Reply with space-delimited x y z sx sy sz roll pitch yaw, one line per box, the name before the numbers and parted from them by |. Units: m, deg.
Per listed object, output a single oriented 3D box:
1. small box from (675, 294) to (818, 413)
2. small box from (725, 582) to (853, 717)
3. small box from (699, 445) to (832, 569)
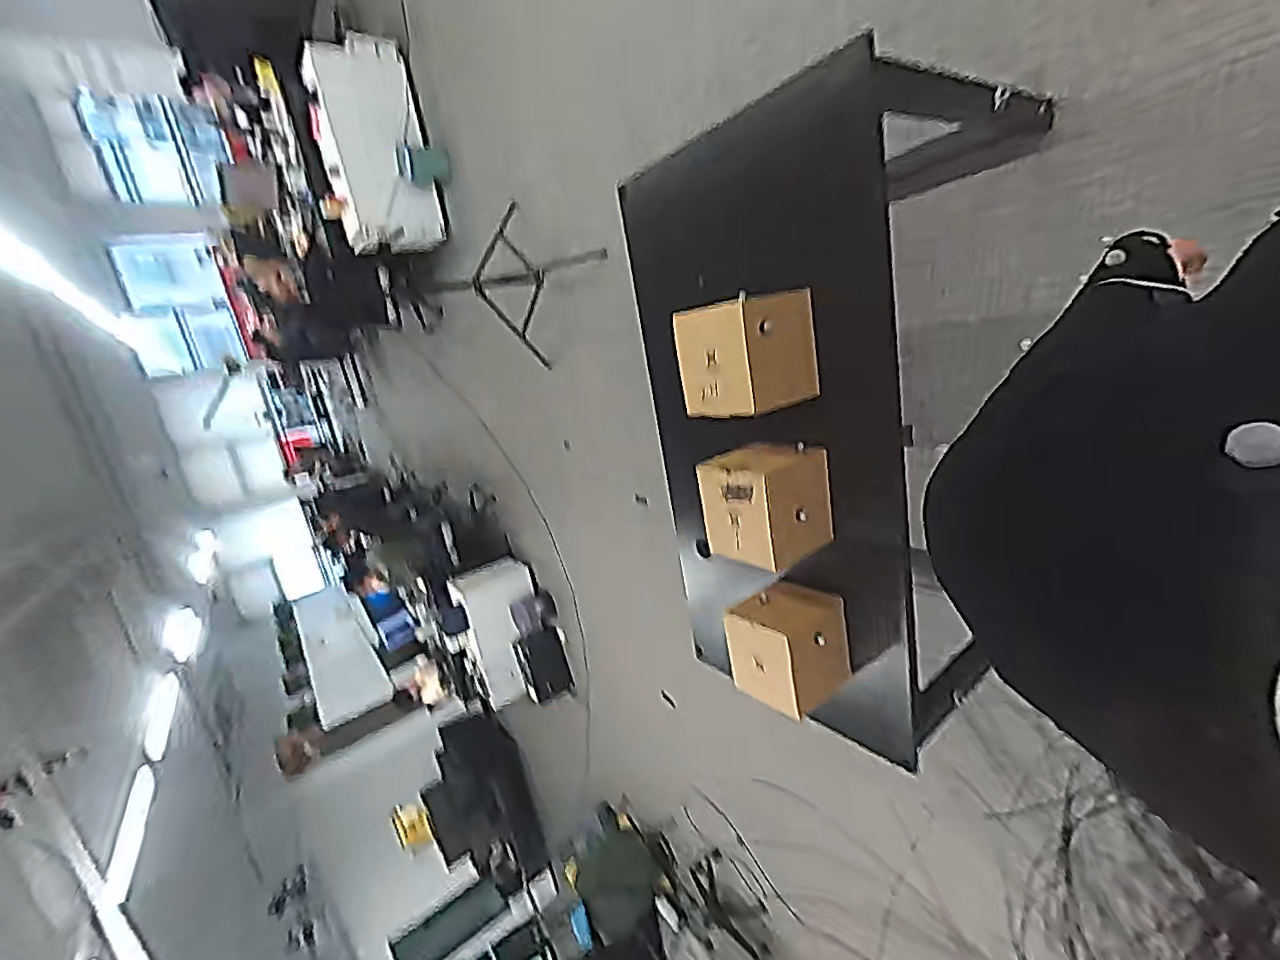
small box | 0.186 -0.218 0.937 0.168 0.176 0.179 9 113 55
small box | 0.295 0.320 1.068 0.168 0.176 0.179 6 112 56
small box | 0.235 0.039 1.004 0.168 0.176 0.179 11 116 54
